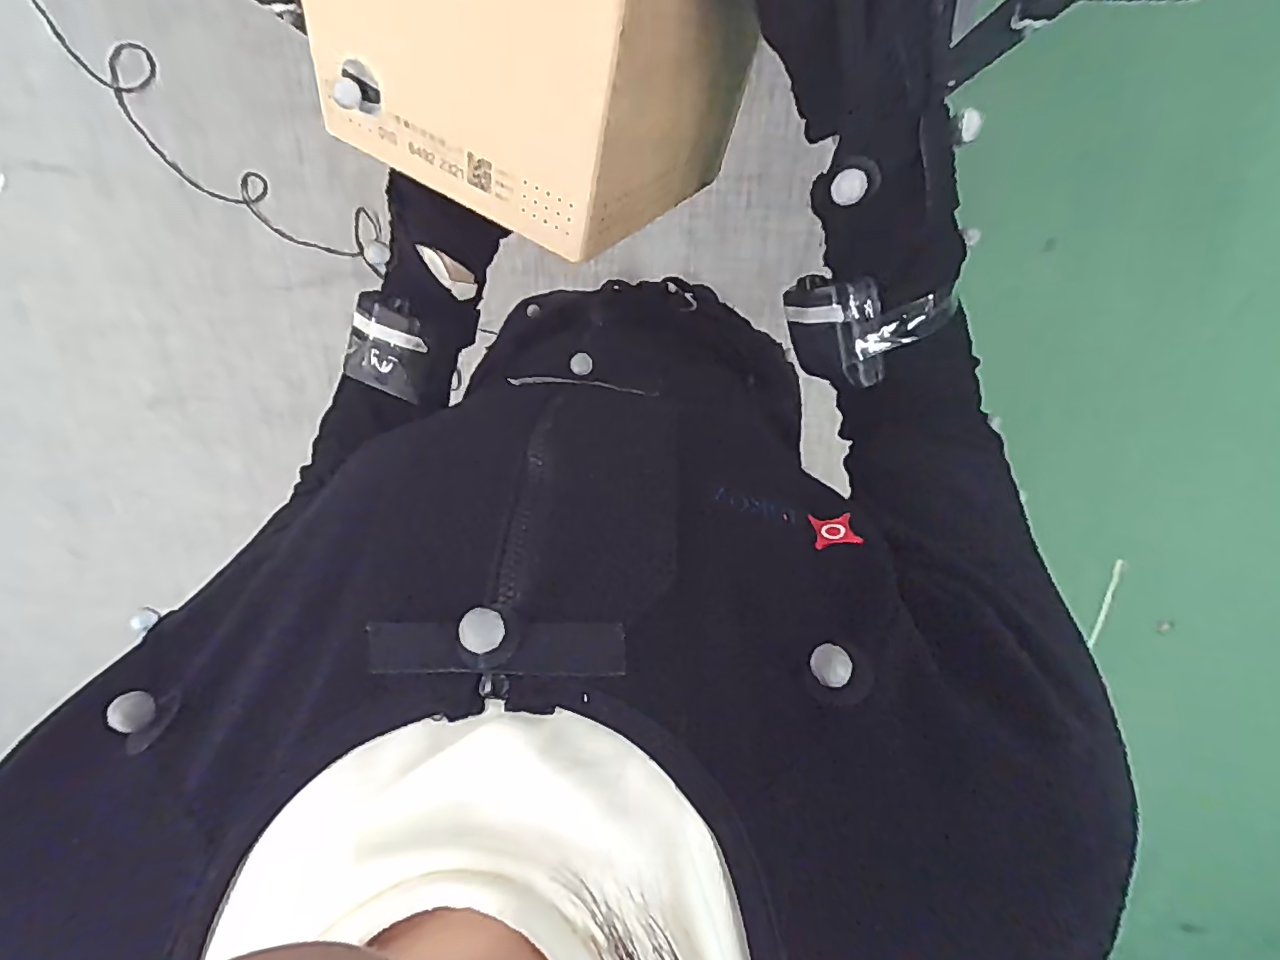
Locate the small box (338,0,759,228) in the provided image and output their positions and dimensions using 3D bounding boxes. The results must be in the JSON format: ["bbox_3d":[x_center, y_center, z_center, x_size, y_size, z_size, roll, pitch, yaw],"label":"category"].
[{"bbox_3d":[-0.037,-0.259,0.281,0.168,0.179,0.176,31,138,10],"label":"small box"}]
